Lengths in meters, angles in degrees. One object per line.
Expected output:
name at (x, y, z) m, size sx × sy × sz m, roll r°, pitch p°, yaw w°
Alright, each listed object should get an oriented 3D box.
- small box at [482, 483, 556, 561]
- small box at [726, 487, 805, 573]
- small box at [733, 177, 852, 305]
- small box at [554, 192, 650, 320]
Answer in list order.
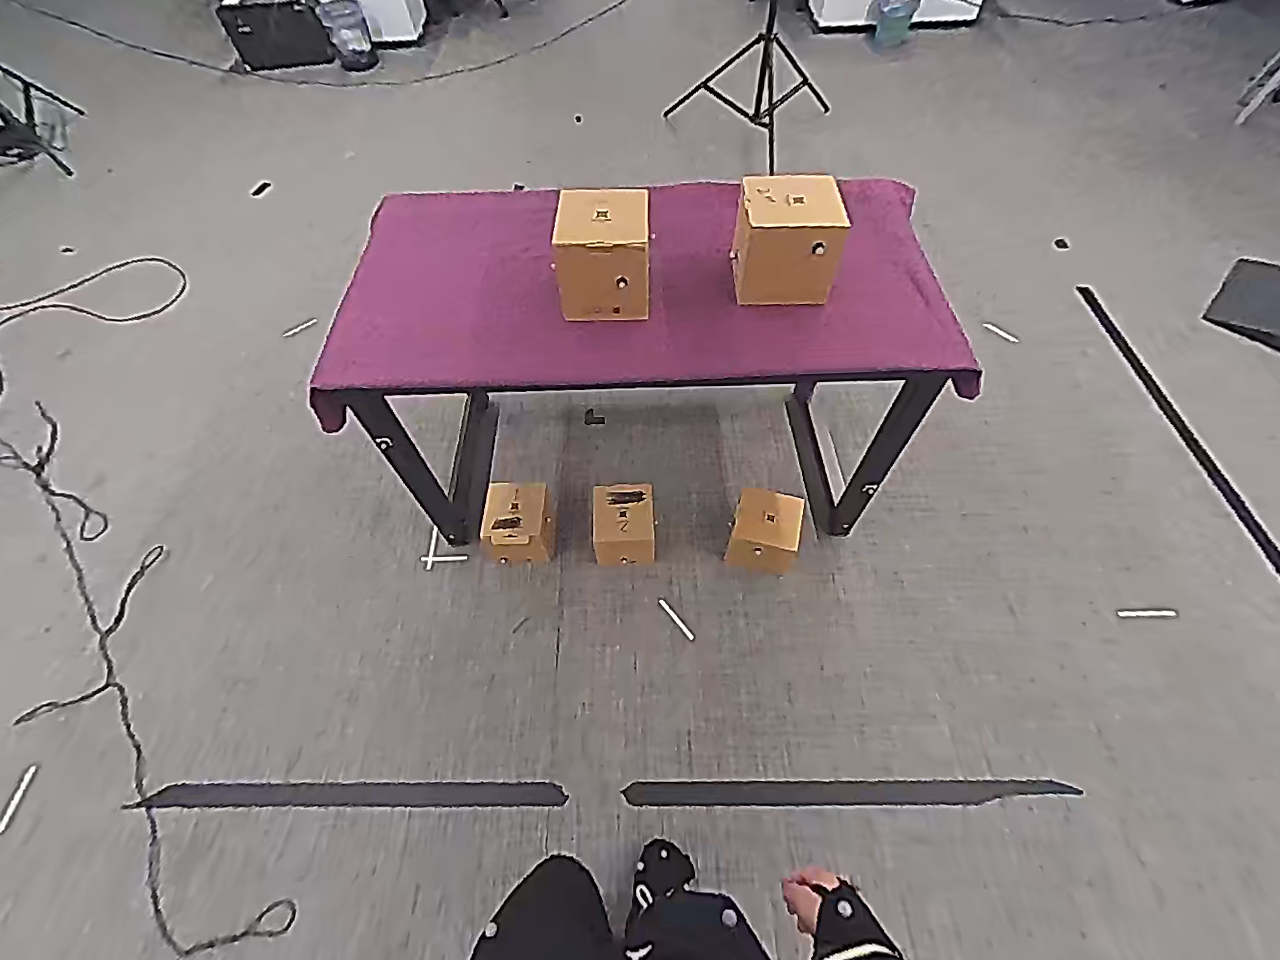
small box at (-0.341, 0.125, 1.554) m, size 0.168 × 0.176 × 0.179 m, roll -1°, pitch 57°, yaw 1°
small box at (0.350, 0.146, 1.526) m, size 0.179 × 0.176 × 0.168 m, roll 12°, pitch 60°, yaw 11°
small box at (0.283, -0.456, 1.044) m, size 0.179 × 0.176 × 0.168 m, roll 0°, pitch 57°, yaw 2°
small box at (-0.064, -0.423, 1.033) m, size 0.168 × 0.176 × 0.179 m, roll 0°, pitch 55°, yaw 0°
